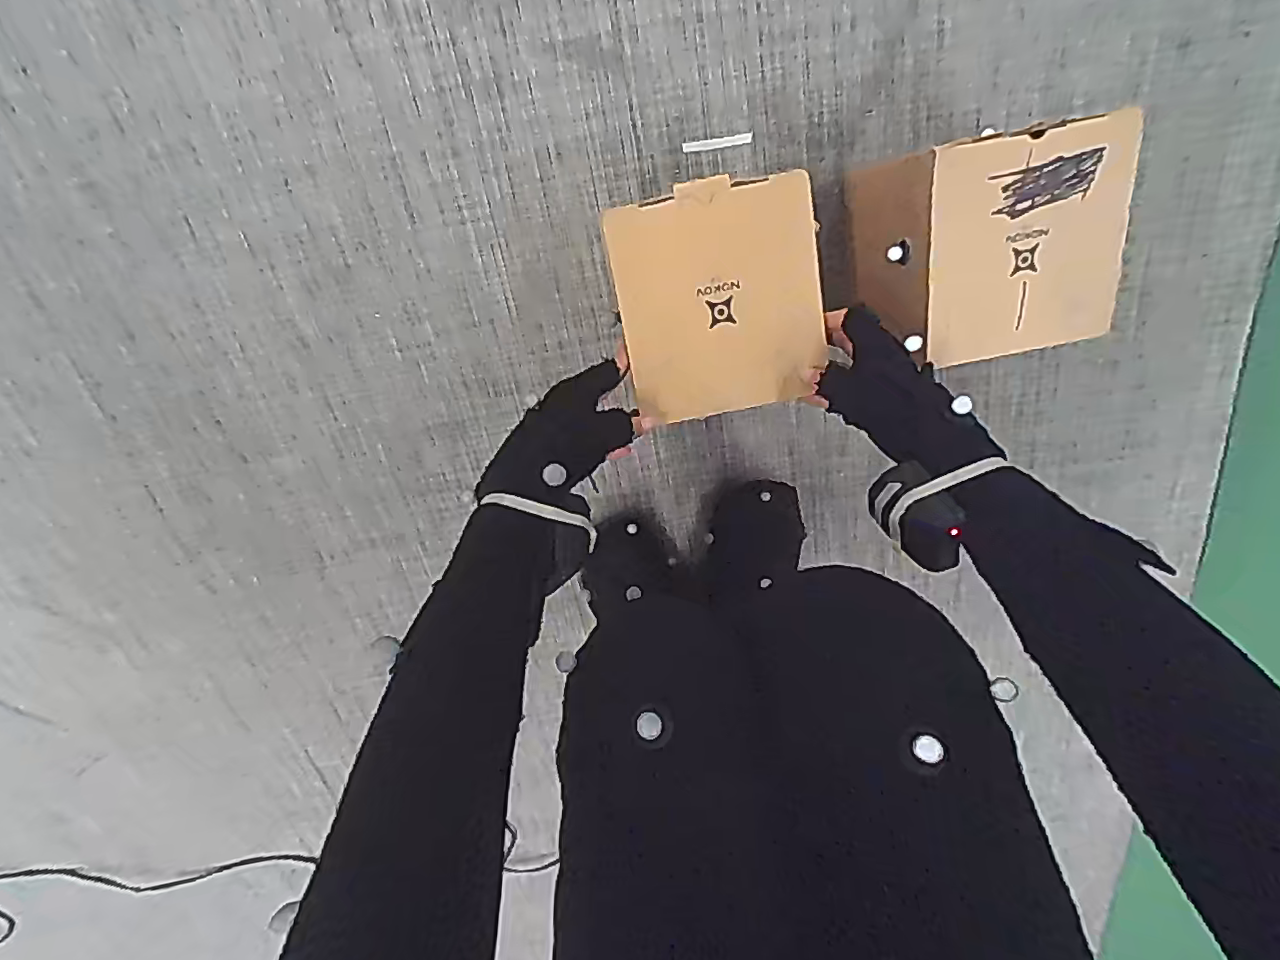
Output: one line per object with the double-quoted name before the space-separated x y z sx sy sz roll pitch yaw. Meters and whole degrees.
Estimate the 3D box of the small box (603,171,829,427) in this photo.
"small box" 0.064 -0.163 0.517 0.168 0.176 0.179 -12 105 1

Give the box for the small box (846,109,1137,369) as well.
"small box" 0.312 -0.222 0.521 0.168 0.176 0.179 -12 113 1
